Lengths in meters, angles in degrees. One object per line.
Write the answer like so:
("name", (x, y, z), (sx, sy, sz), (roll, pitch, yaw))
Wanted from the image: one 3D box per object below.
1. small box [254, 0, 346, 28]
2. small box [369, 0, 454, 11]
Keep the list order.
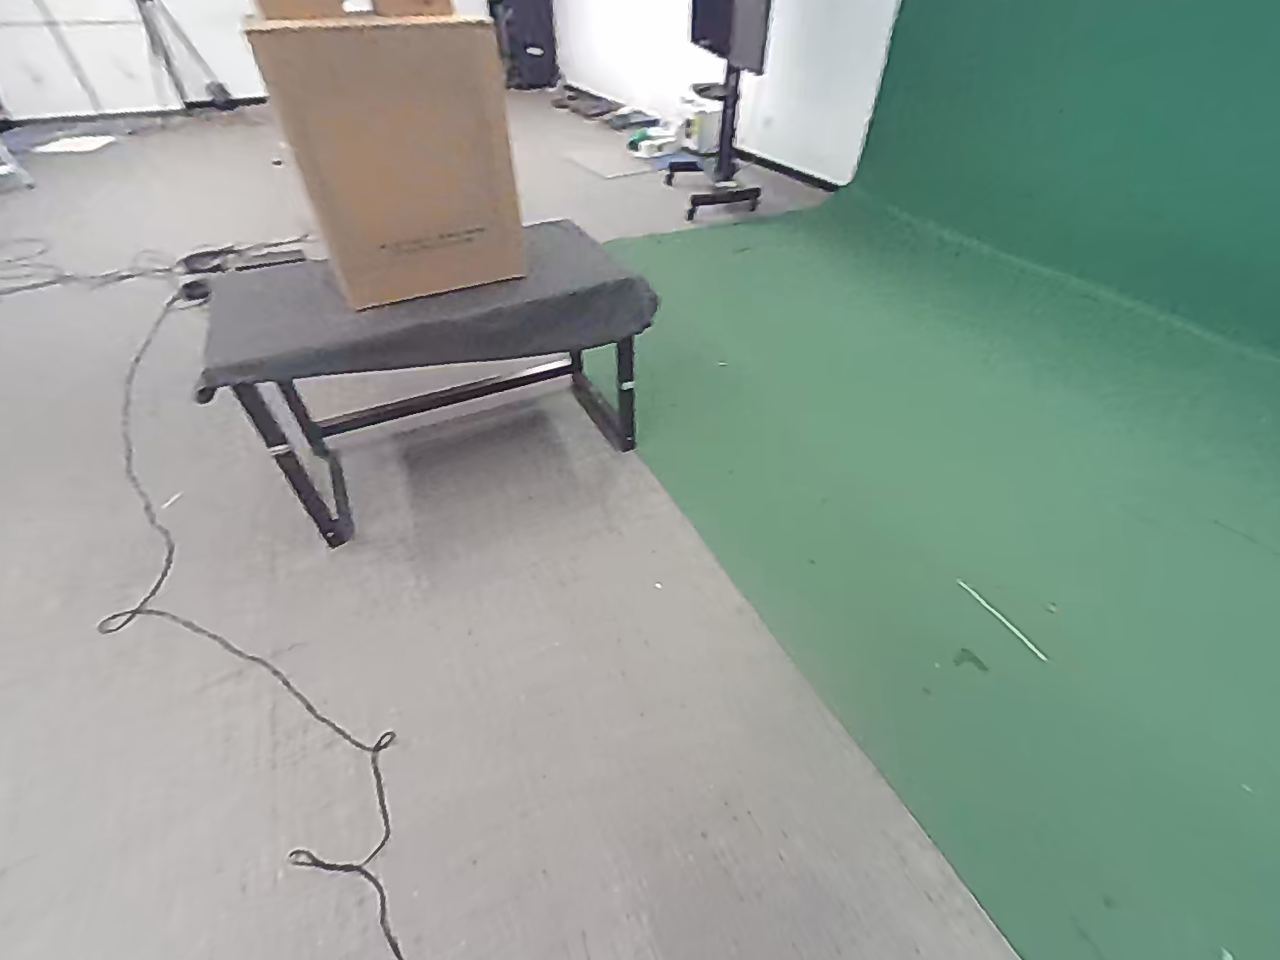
("small box", (-0.774, -1.122, 1.193), (0.179, 0.176, 0.168), (-24, 50, -20))
("small box", (-0.557, -1.220, 1.269), (0.168, 0.176, 0.179), (-26, 52, -24))
